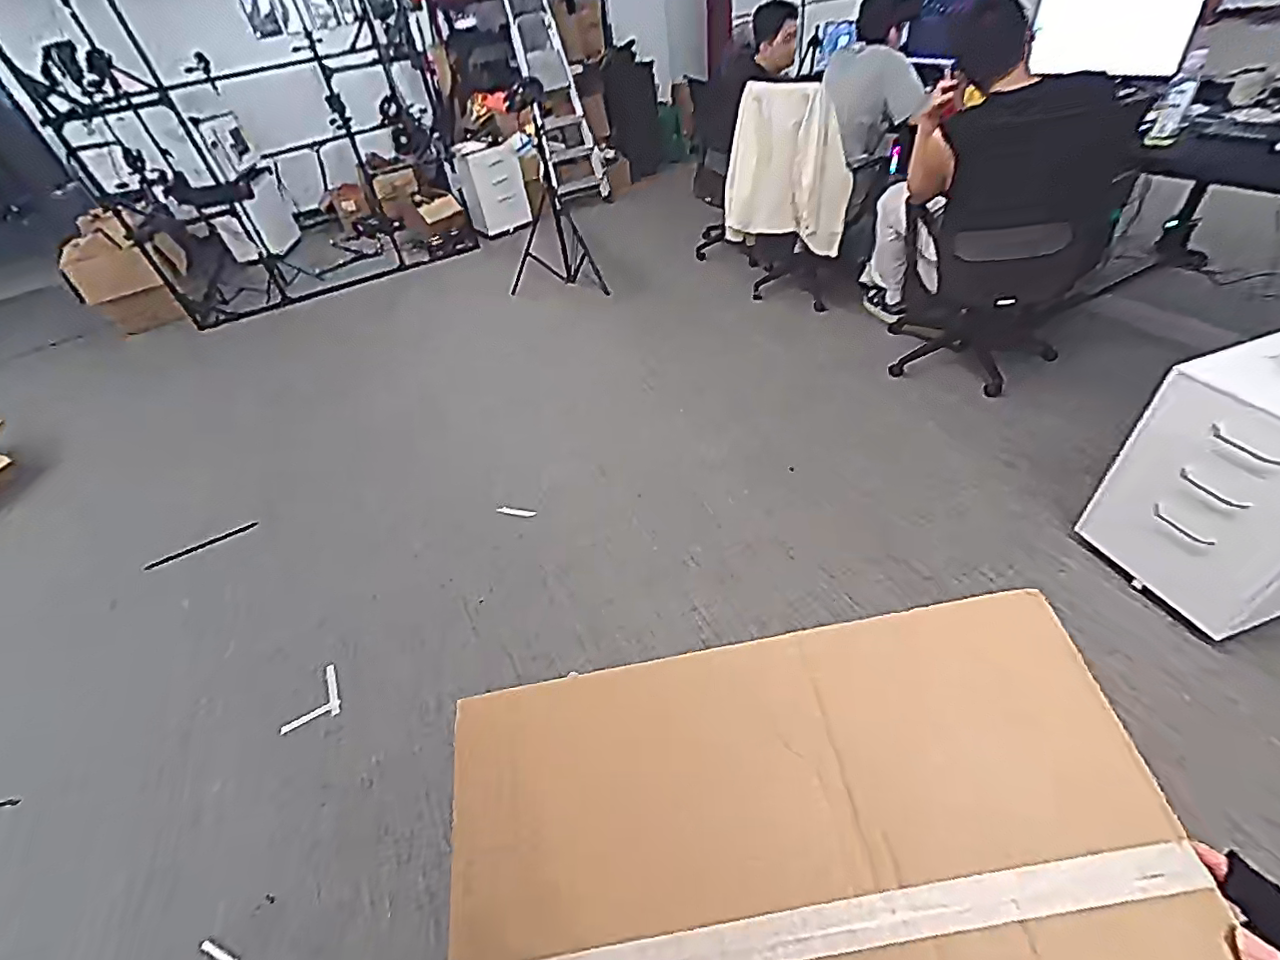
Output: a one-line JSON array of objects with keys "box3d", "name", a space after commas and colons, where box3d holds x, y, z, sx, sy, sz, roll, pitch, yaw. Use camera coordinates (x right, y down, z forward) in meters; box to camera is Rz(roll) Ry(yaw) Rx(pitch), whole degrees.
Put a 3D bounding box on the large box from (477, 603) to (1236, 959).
[{"box3d": [0.121, 0.332, 0.426, 0.408, 0.320, 0.320, -12, 59, 2], "name": "large box"}]
